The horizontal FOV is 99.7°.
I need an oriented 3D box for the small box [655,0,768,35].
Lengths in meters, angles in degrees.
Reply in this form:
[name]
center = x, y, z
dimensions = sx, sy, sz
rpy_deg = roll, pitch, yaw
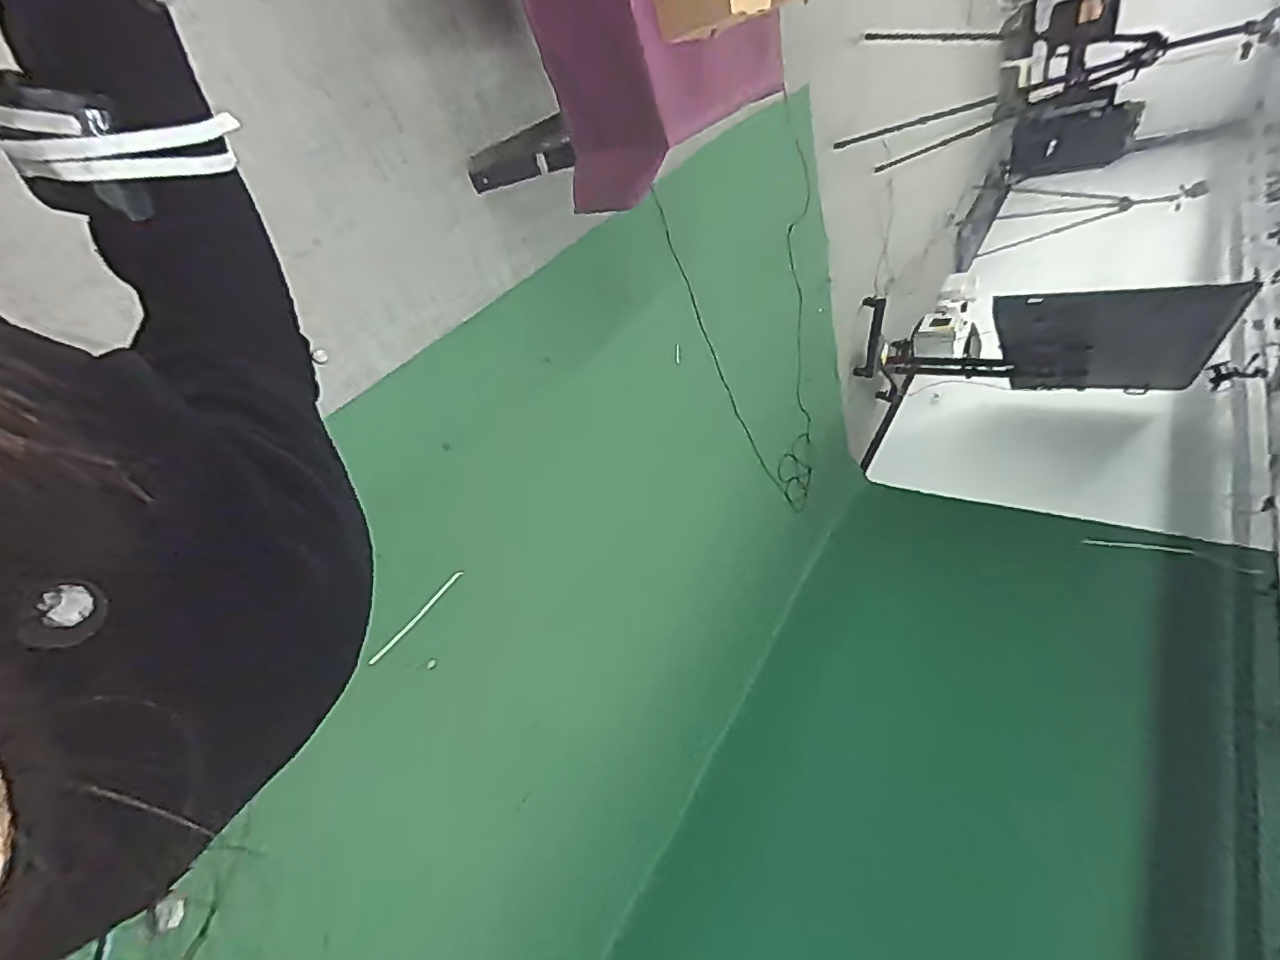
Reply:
[small box]
center = 0.133, -1.012, 1.070
dimensions = 0.168, 0.176, 0.179
rpy_deg = -44, 131, -36
